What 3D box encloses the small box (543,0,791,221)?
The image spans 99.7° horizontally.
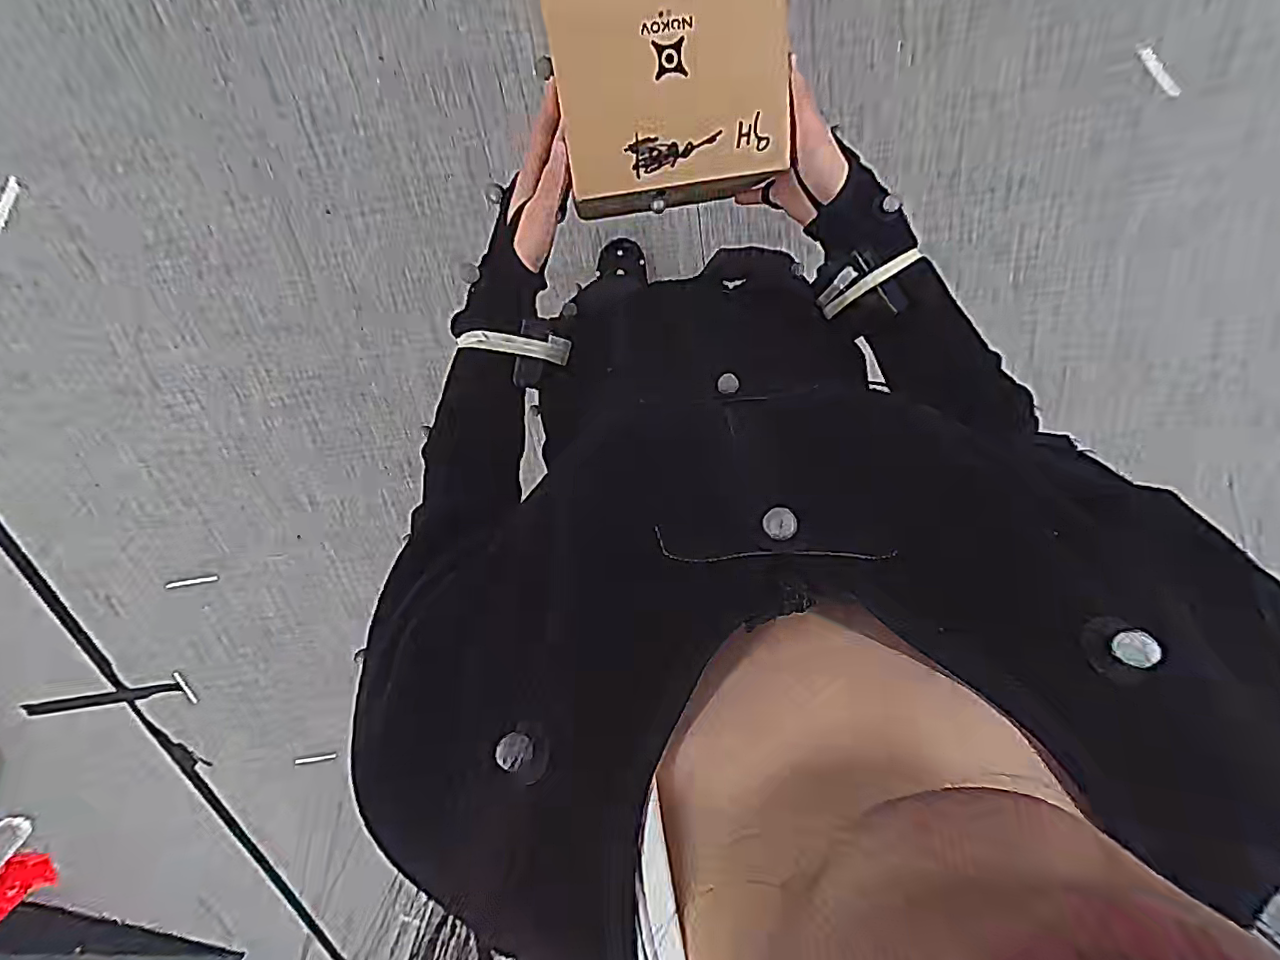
[{"bbox_3d":[0.014,-0.326,0.444,0.168,0.176,0.179,-10,111,-2],"label":"small box"}]

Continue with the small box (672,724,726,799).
[{"bbox_3d":[0.218,1.037,1.997,0.168,0.176,0.179,-10,115,0],"label":"small box"}]
